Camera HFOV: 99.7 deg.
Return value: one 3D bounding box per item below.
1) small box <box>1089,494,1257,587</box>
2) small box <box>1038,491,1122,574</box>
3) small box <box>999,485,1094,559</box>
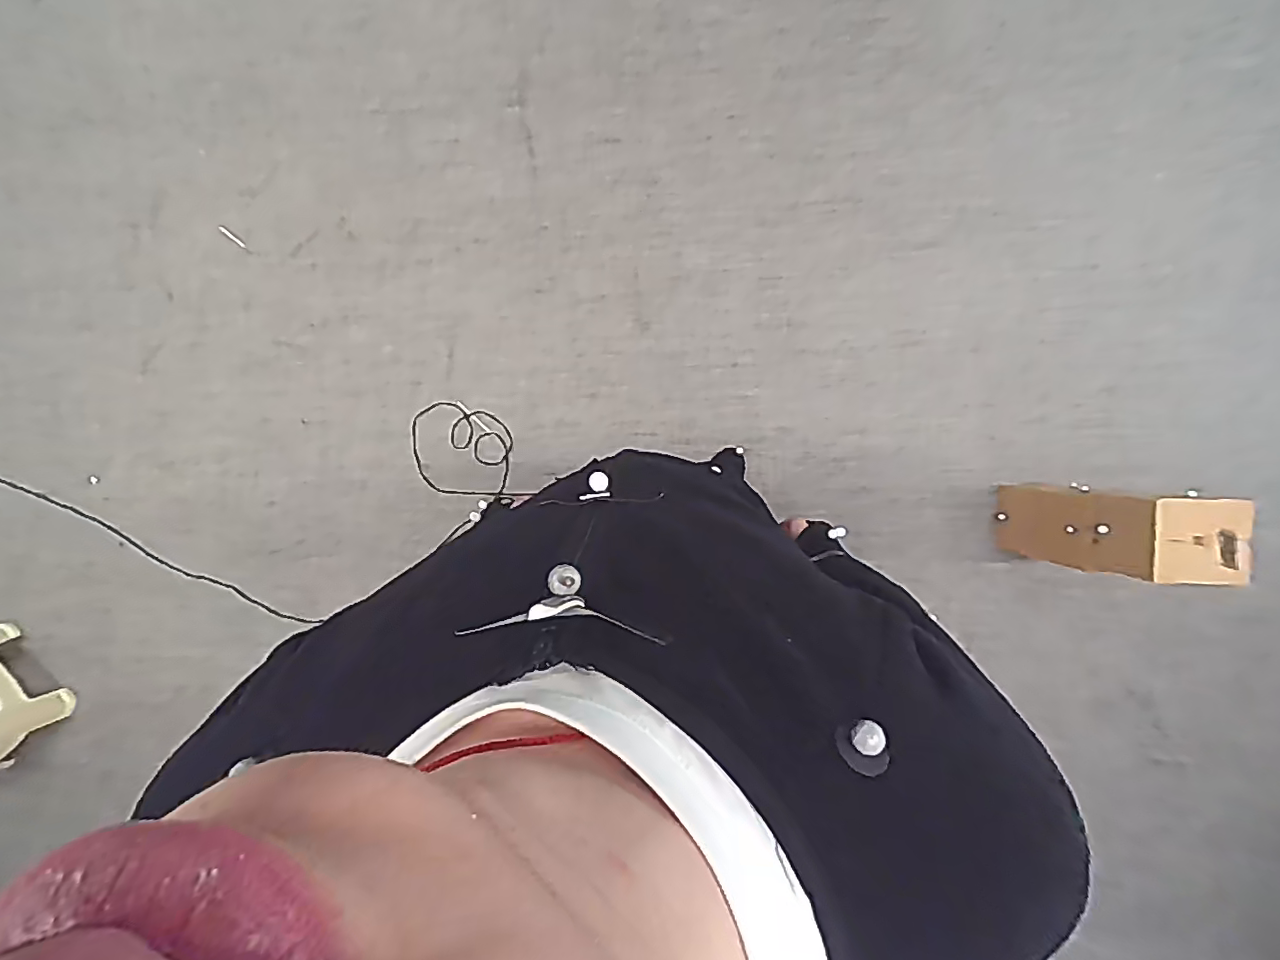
[{"bbox_3d":[1.077,0.116,1.104,0.179,0.176,0.168,1,92,4],"label":"small box"},{"bbox_3d":[1.076,0.118,1.269,0.168,0.176,0.179,0,94,3],"label":"small box"},{"bbox_3d":[1.086,0.109,1.431,0.168,0.176,0.179,1,93,2],"label":"small box"}]
